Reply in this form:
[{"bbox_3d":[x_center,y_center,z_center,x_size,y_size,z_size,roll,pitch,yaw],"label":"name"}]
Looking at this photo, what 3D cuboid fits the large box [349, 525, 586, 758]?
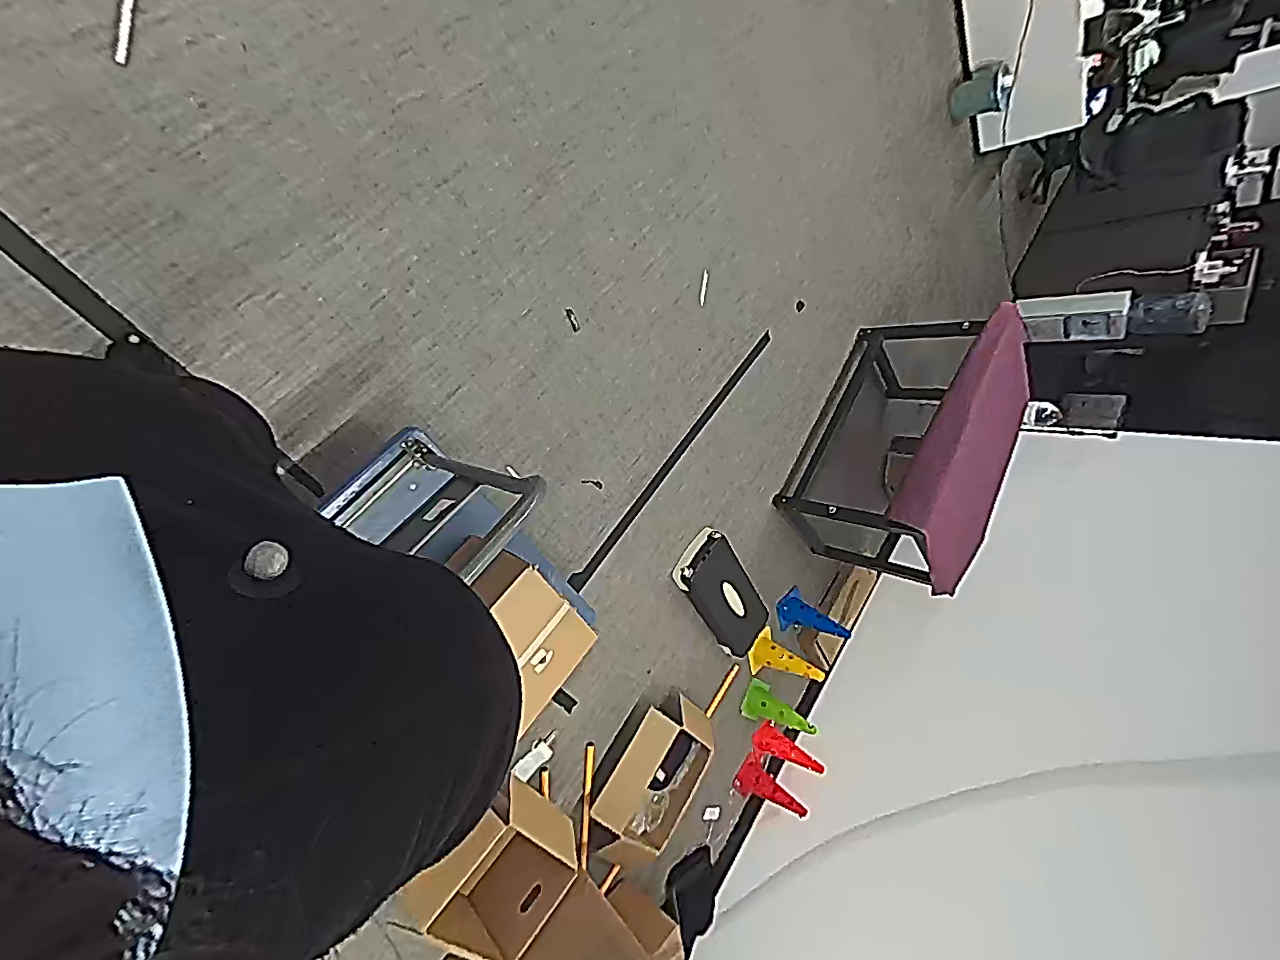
[{"bbox_3d":[-0.421,0.381,1.347,0.408,0.320,0.320,-51,129,-24],"label":"large box"}]
